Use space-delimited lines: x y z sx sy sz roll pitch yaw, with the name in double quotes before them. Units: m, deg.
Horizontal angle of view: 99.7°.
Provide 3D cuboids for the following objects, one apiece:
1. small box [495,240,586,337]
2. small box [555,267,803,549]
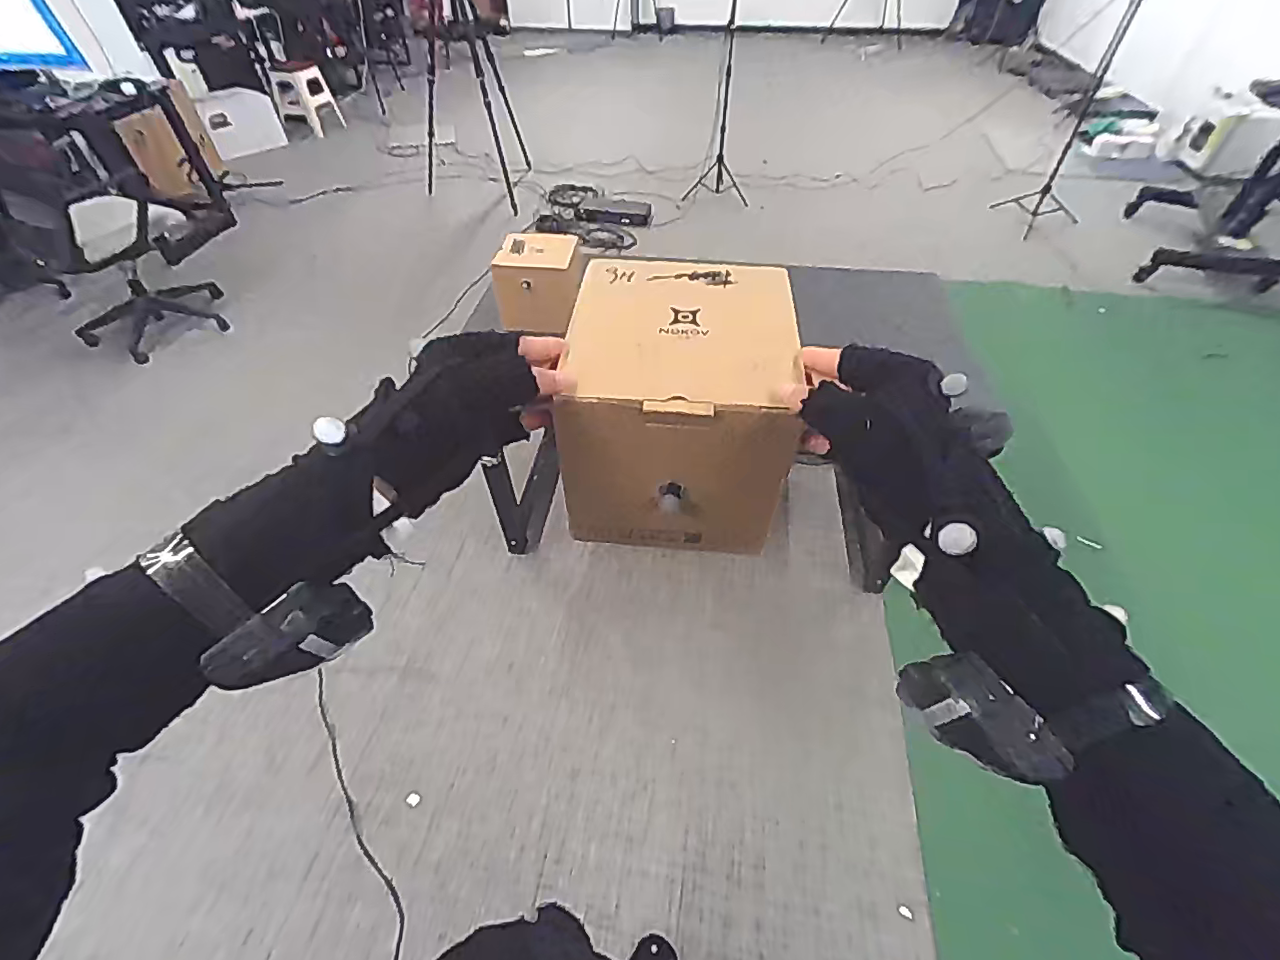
"small box" -0.232 -0.463 1.315 0.179 0.176 0.168 4 48 3
"small box" 0.034 -0.058 0.462 0.168 0.176 0.179 4 51 3
